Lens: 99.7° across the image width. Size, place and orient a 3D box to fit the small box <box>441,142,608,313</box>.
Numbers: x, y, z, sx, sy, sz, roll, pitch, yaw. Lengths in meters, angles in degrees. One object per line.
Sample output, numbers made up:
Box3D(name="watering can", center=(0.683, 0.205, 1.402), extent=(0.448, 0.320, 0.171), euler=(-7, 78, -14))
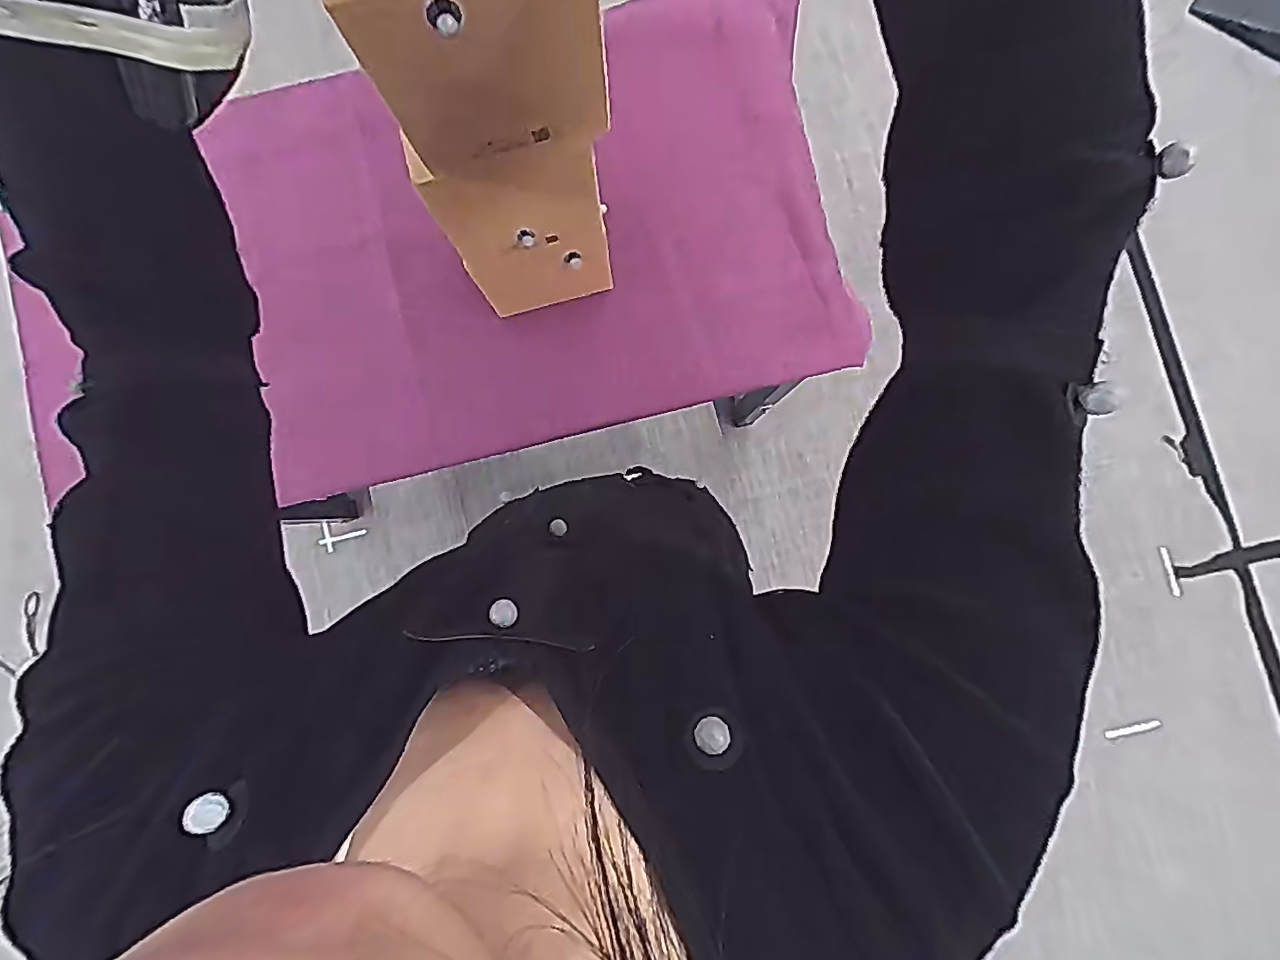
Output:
Box3D(name="small box", center=(-0.144, -0.348, 0.726), extent=(0.179, 0.176, 0.168), euler=(-15, 86, 0))

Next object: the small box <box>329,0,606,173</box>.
Box3D(name="small box", center=(-0.127, -0.374, 0.400), extent=(0.168, 0.176, 0.179), euler=(-15, 86, -1))
